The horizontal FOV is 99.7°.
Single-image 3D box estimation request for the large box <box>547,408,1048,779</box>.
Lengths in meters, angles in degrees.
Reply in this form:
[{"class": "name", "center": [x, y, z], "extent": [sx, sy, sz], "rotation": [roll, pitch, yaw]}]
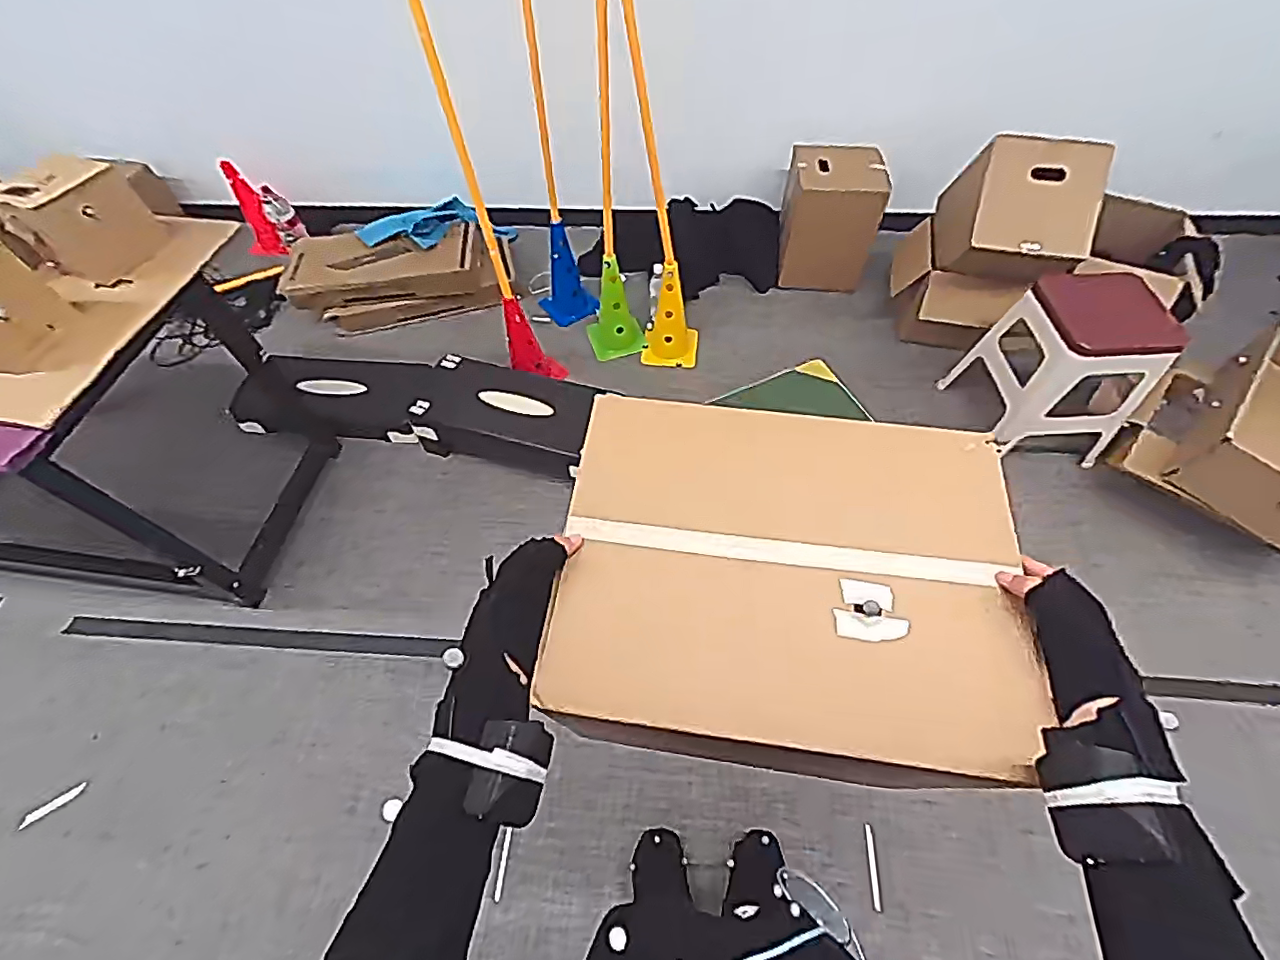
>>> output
[{"class": "large box", "center": [0.137, 0.146, 0.628], "extent": [0.408, 0.320, 0.320], "rotation": [7, 62, 4]}]
